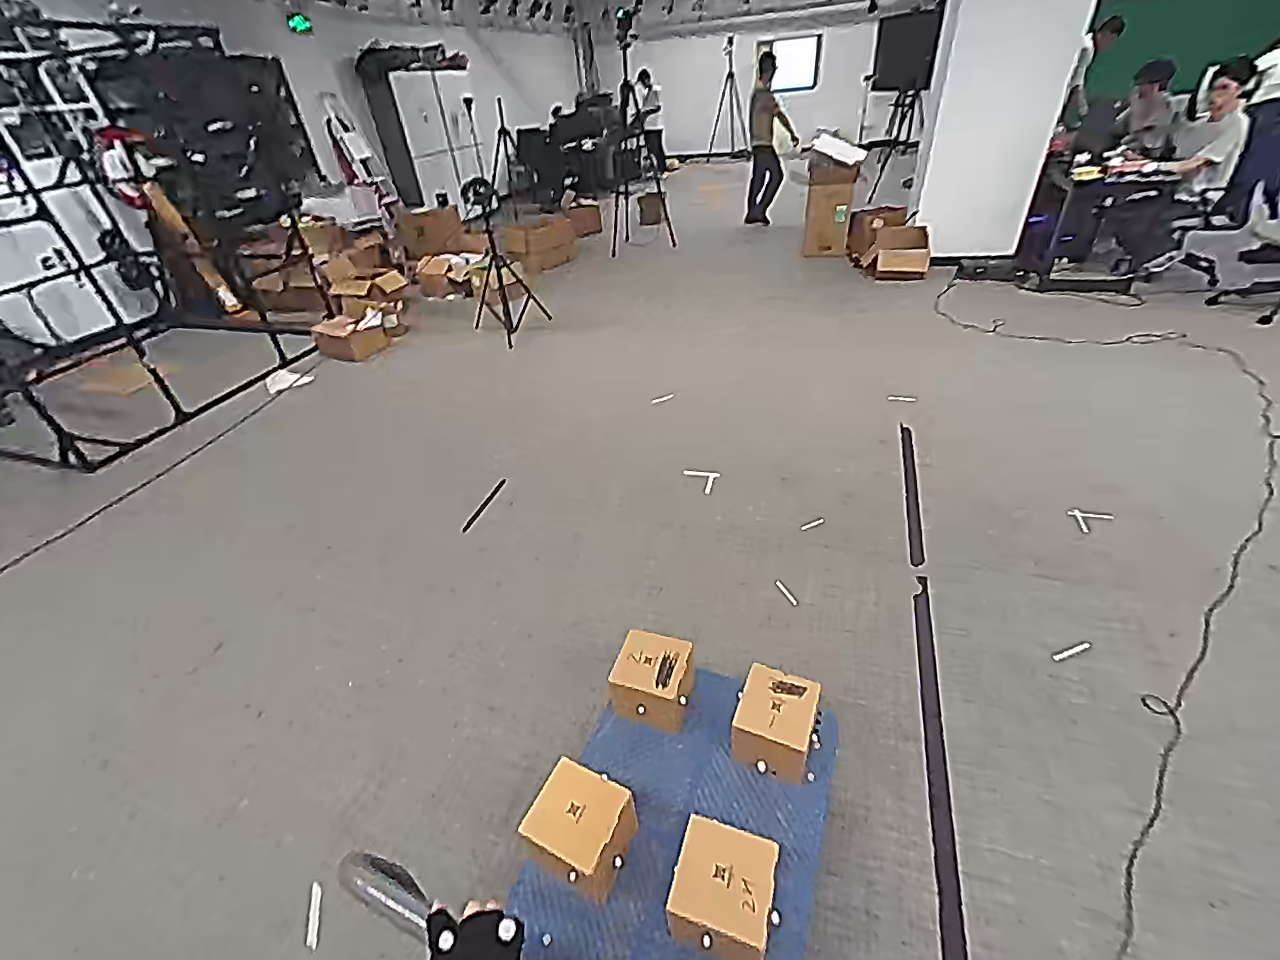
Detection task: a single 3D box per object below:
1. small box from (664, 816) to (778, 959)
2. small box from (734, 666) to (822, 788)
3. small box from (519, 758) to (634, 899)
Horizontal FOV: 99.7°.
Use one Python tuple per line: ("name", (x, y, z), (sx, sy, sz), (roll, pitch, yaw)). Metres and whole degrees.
("small box", (0.158, 0.787, 1.027), (0.179, 0.176, 0.168), (9, 39, 20))
("small box", (0.323, 0.584, 1.282), (0.168, 0.176, 0.179), (12, 41, 24))
("small box", (-0.126, 0.735, 1.141), (0.179, 0.176, 0.168), (15, 40, 24))
